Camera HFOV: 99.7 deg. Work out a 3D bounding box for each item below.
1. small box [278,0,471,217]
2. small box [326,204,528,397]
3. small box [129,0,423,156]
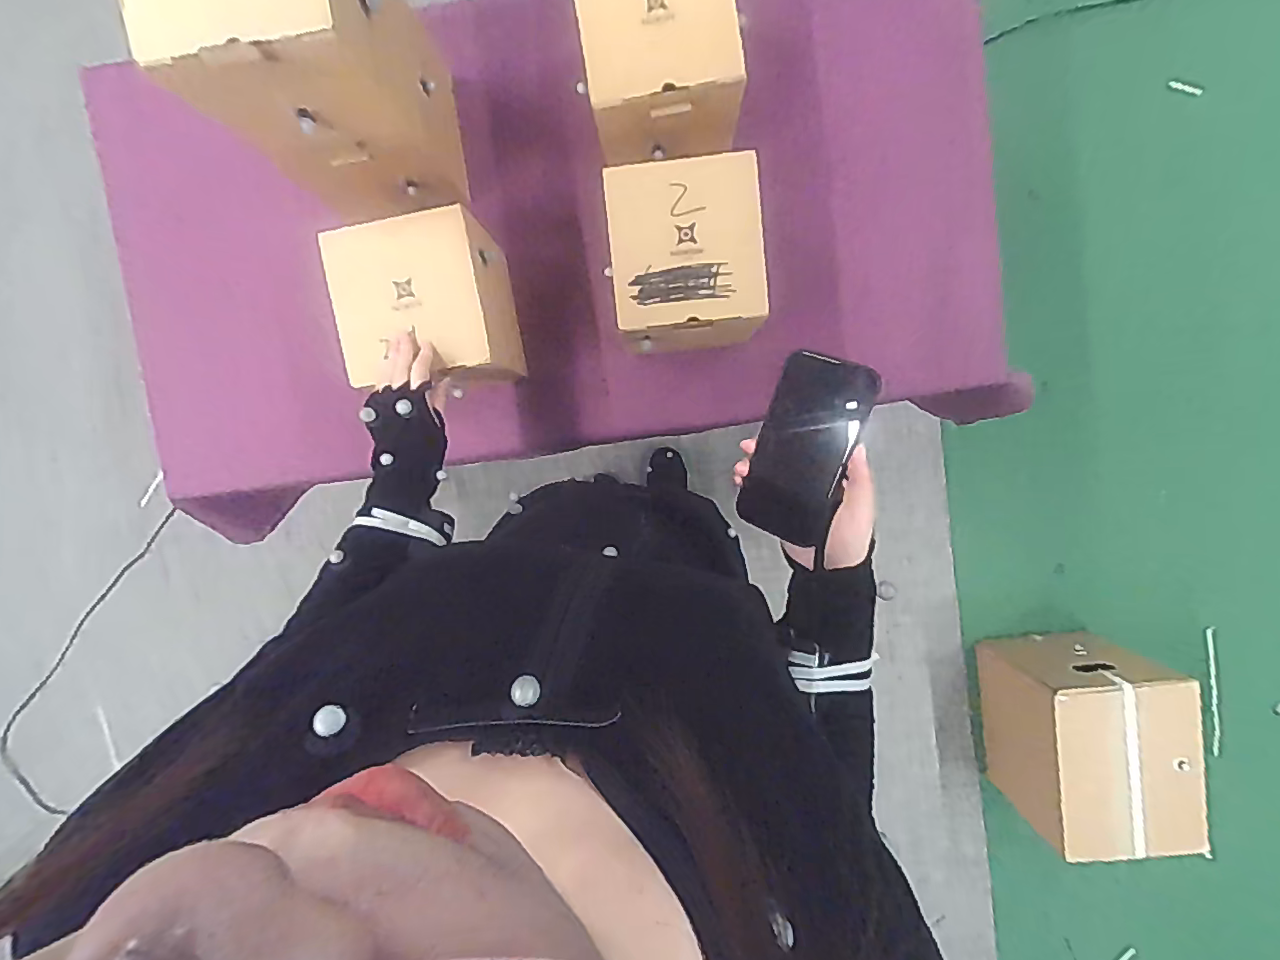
[{"bbox_3d":[-0.321,-0.442,0.660,0.168,0.176,0.179,-7,95,2],"label":"small box"},{"bbox_3d":[-0.251,-0.209,0.677,0.168,0.176,0.179,-10,94,4],"label":"small box"},{"bbox_3d":[-0.320,-0.427,0.496,0.168,0.176,0.179,-7,95,2],"label":"small box"}]
